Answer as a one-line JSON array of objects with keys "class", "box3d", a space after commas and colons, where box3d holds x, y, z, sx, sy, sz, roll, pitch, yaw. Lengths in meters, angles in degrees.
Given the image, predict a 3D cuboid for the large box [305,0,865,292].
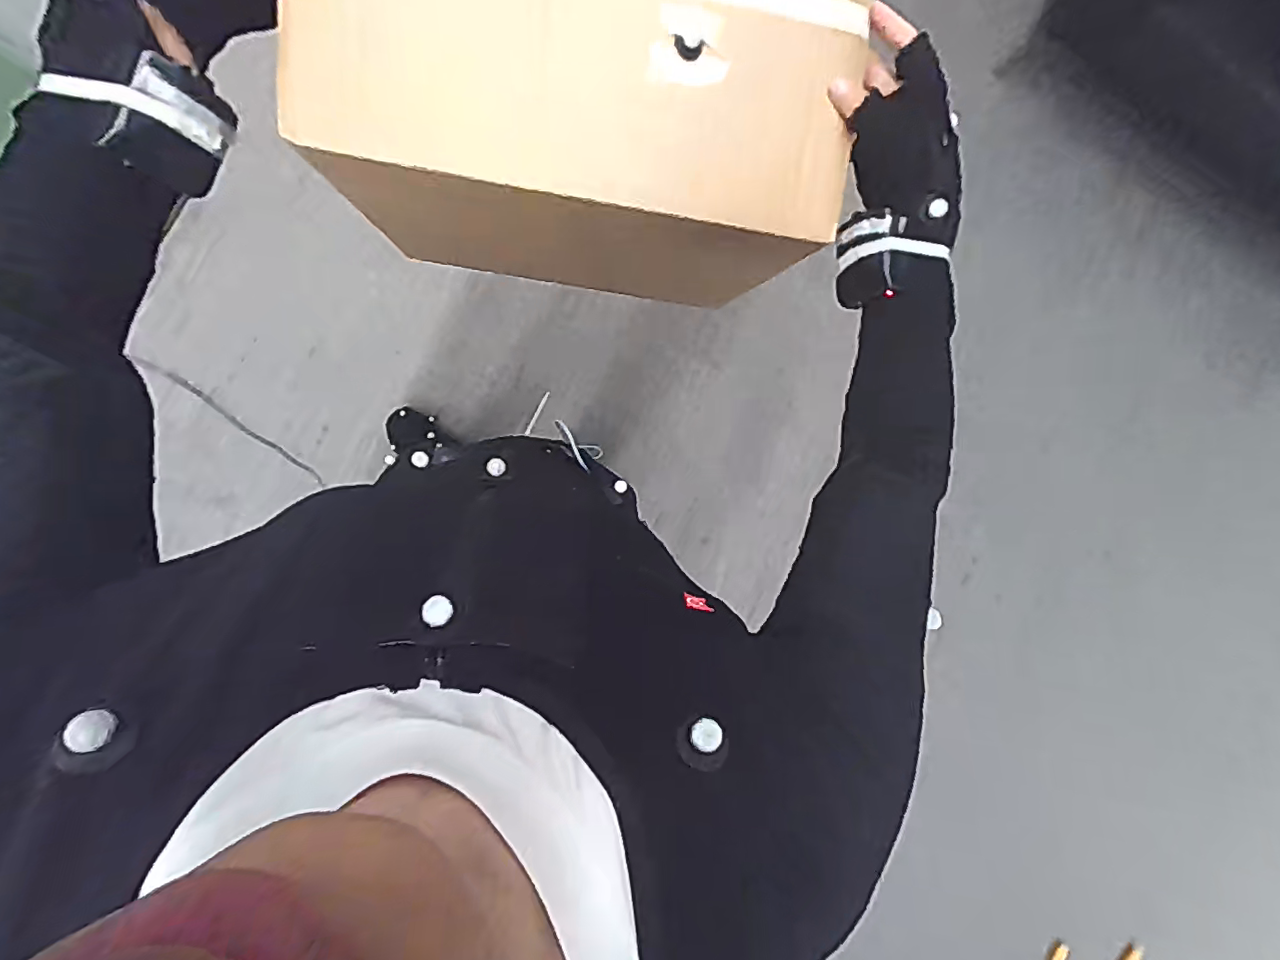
[{"class": "large box", "box3d": [-0.048, -0.393, 0.530, 0.408, 0.320, 0.320, 5, 98, -11]}]
